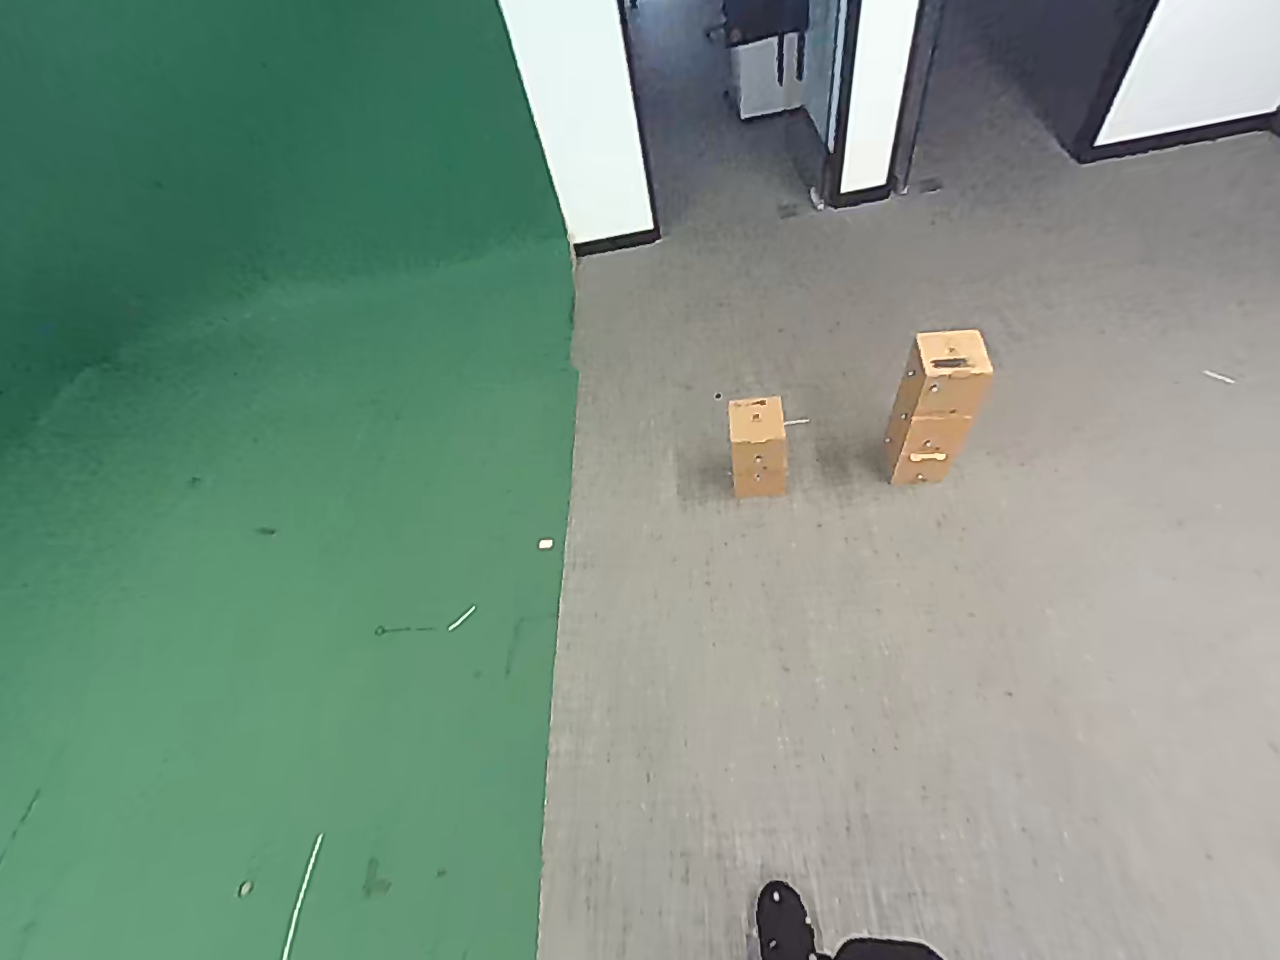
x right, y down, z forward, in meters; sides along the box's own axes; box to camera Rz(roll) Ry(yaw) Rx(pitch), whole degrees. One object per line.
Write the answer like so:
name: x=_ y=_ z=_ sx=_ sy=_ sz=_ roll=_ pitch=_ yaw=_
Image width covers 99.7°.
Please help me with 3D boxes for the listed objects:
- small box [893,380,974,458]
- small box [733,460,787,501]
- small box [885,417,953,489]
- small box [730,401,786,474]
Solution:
small box: x=0.896 y=-0.187 z=1.668 sx=0.168 sy=0.176 sz=0.179 roll=-2 pitch=54 yaw=11
small box: x=0.416 y=-0.038 z=1.874 sx=0.179 sy=0.176 sz=0.168 roll=-2 pitch=54 yaw=11
small box: x=0.918 y=-0.090 z=1.794 sx=0.168 sy=0.176 sz=0.179 roll=1 pitch=56 yaw=16
small box: x=0.381 y=-0.130 z=1.744 sx=0.168 sy=0.176 sz=0.179 roll=-3 pitch=55 yaw=11
